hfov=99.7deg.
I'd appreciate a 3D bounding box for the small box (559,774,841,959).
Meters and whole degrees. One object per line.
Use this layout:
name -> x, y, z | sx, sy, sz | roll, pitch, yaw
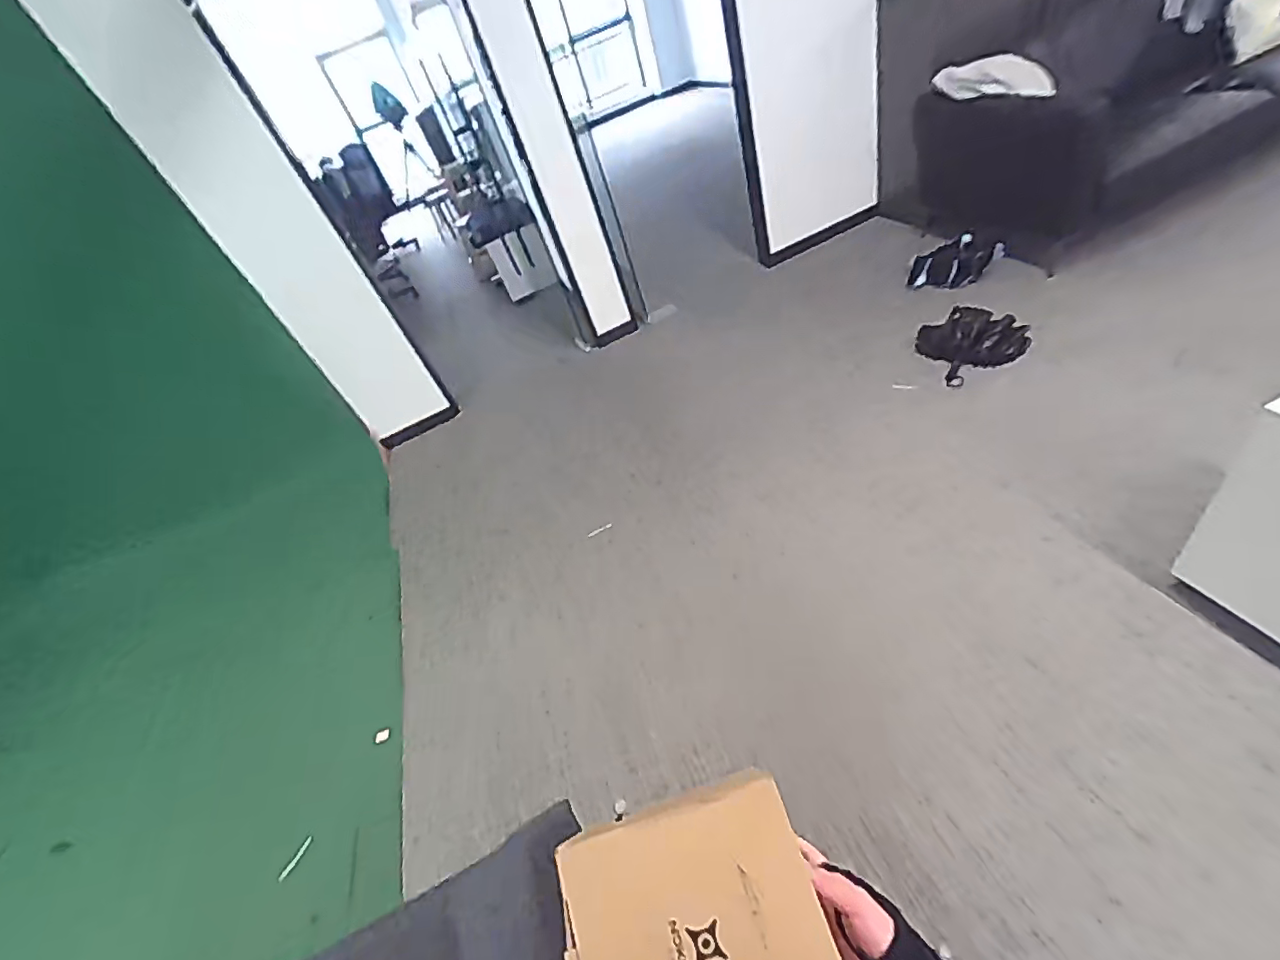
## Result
small box -> 0.052, 0.357, 0.442 | 0.179, 0.176, 0.168 | -18, 63, -3
